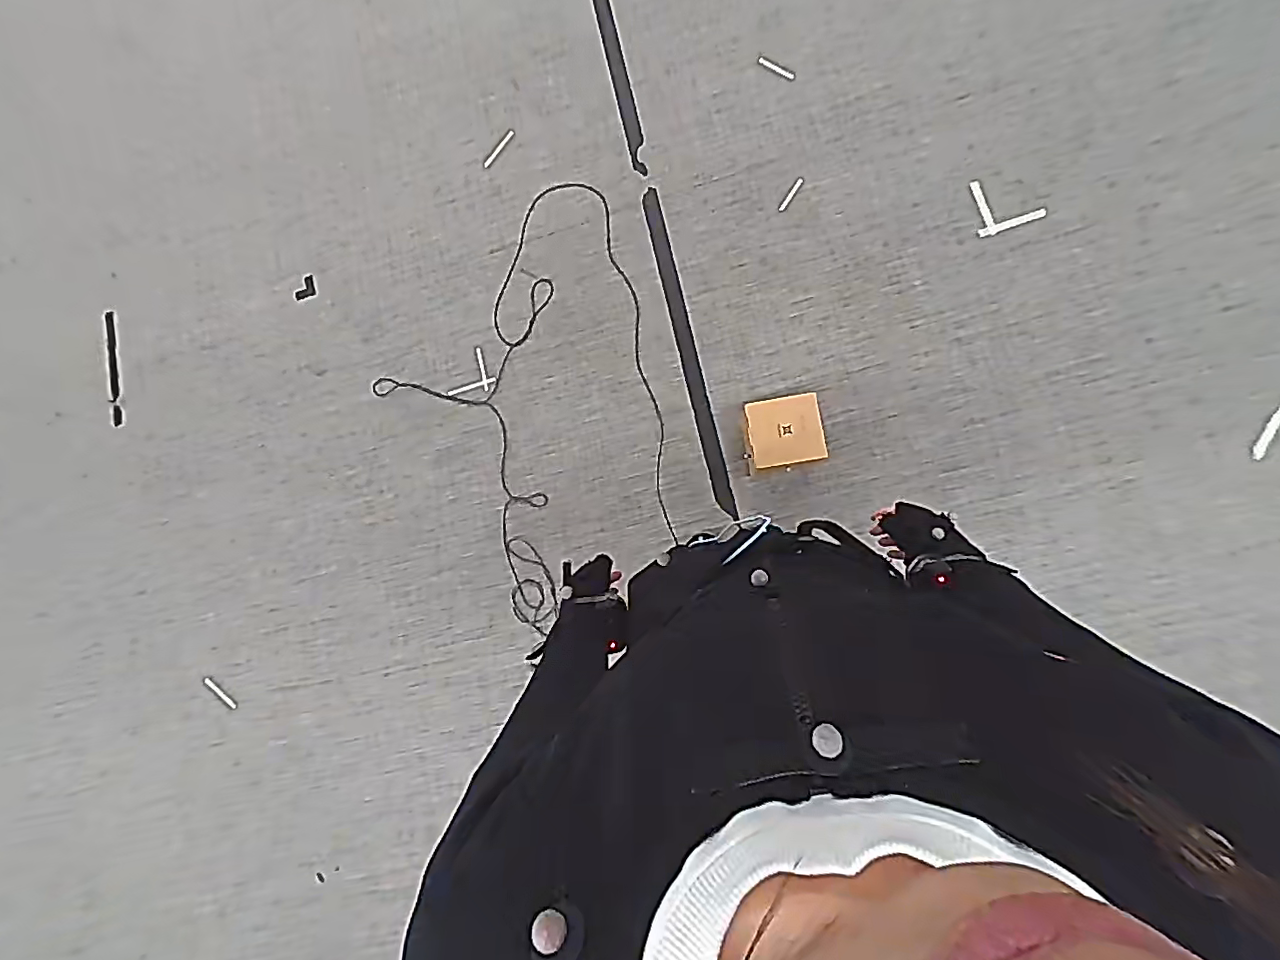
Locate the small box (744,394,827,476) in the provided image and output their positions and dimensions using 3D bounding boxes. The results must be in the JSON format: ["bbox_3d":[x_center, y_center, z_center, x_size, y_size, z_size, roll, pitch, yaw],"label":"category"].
[{"bbox_3d":[0.365,-0.109,1.395,0.179,0.176,0.168,-9,83,6],"label":"small box"}]
